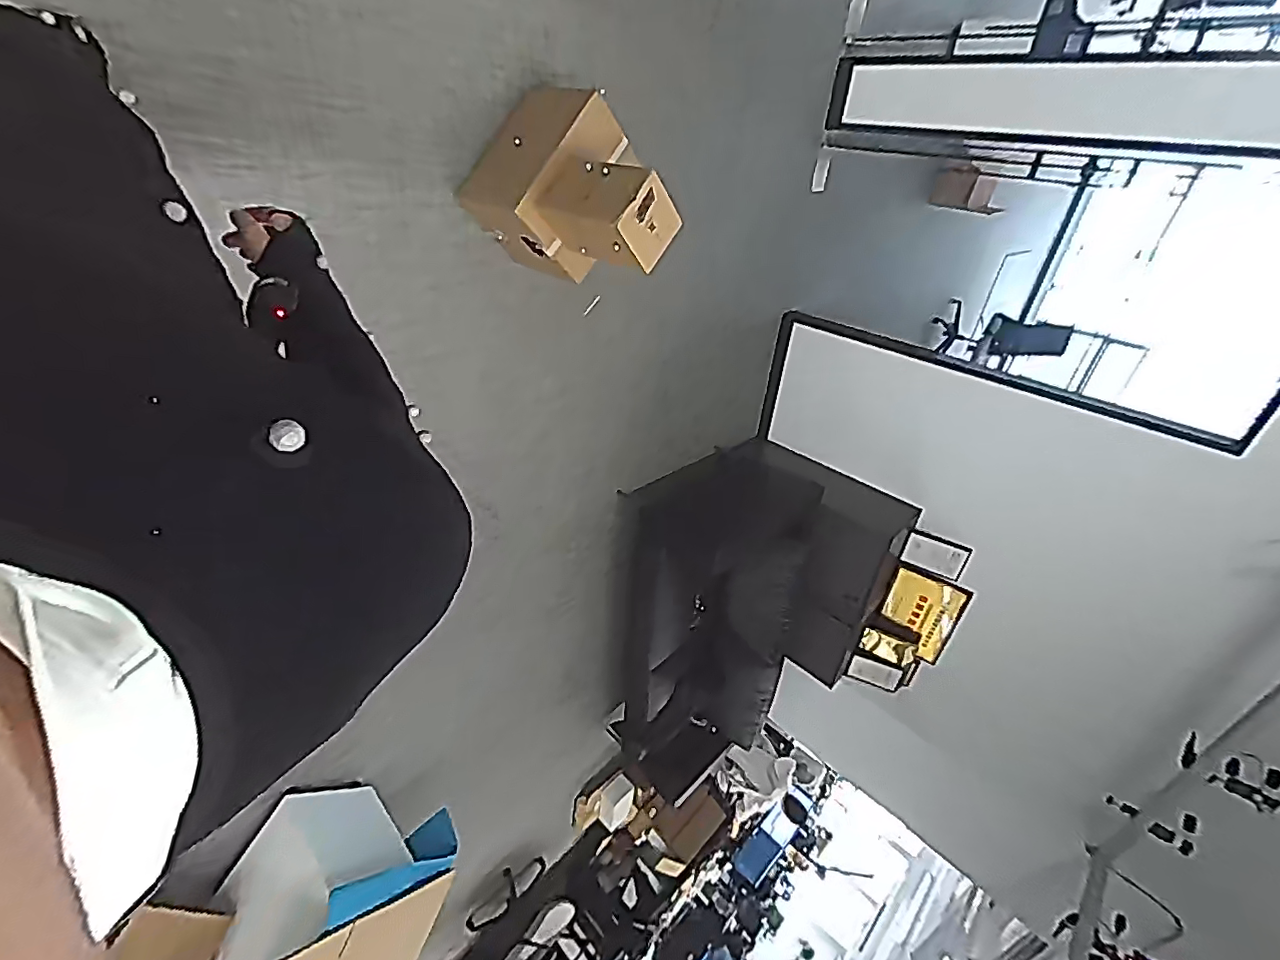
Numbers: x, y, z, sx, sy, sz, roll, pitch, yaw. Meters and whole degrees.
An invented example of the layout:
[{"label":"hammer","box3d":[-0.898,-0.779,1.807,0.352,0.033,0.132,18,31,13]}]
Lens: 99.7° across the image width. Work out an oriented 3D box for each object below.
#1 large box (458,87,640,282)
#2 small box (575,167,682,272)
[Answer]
[{"label":"large box","box3d":[-0.263,-0.880,1.625,0.408,0.320,0.320,-58,146,-3]},{"label":"small box","box3d":[-0.031,-0.657,1.359,0.168,0.176,0.179,-57,146,-3]}]
